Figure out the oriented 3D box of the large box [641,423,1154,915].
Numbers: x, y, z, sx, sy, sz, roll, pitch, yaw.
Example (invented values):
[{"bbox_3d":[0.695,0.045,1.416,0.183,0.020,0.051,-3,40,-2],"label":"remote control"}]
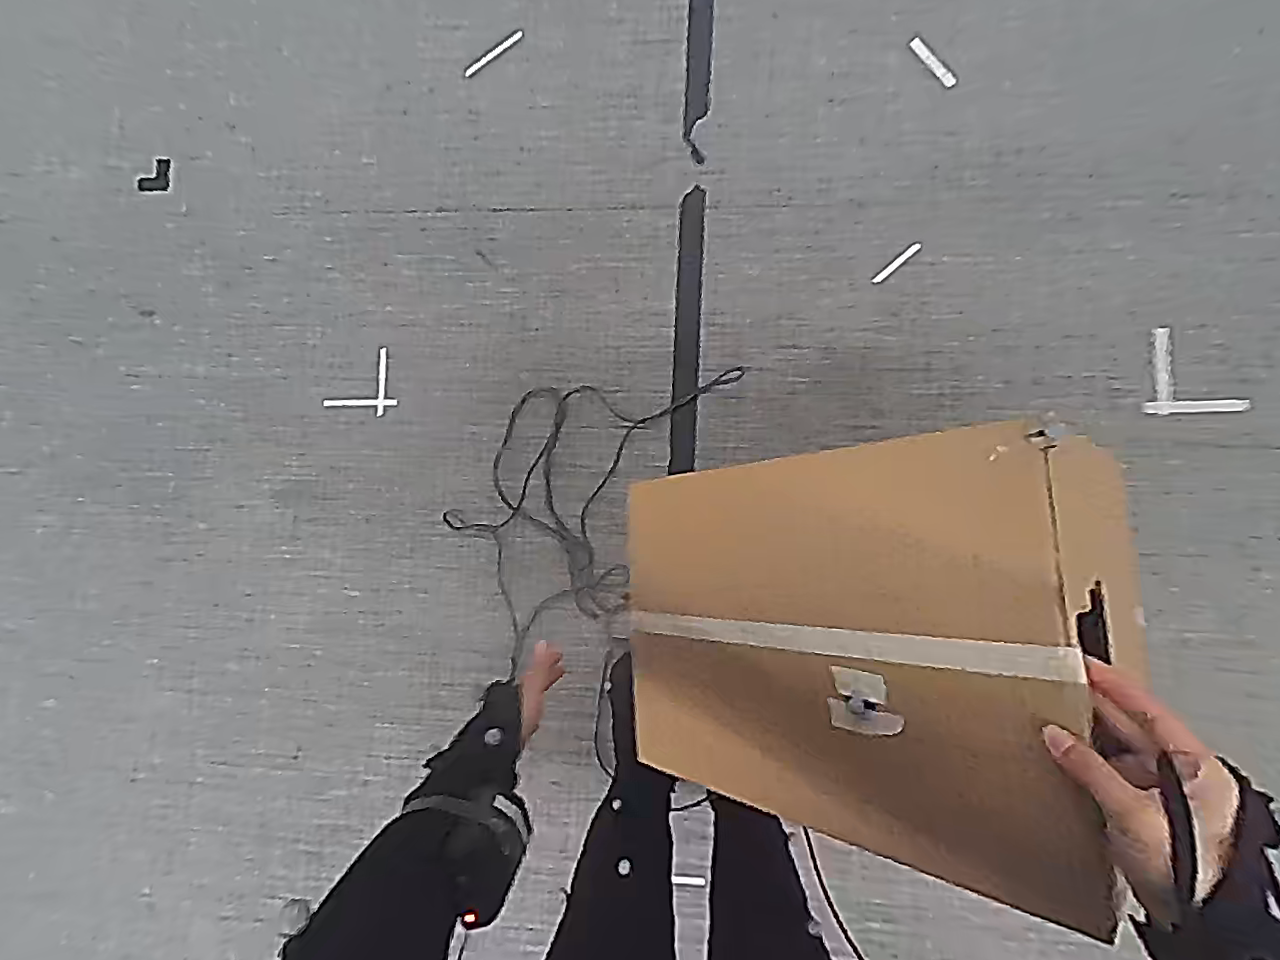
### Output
[{"bbox_3d":[0.248,0.150,0.585,0.408,0.320,0.320,-11,79,46],"label":"large box"}]
